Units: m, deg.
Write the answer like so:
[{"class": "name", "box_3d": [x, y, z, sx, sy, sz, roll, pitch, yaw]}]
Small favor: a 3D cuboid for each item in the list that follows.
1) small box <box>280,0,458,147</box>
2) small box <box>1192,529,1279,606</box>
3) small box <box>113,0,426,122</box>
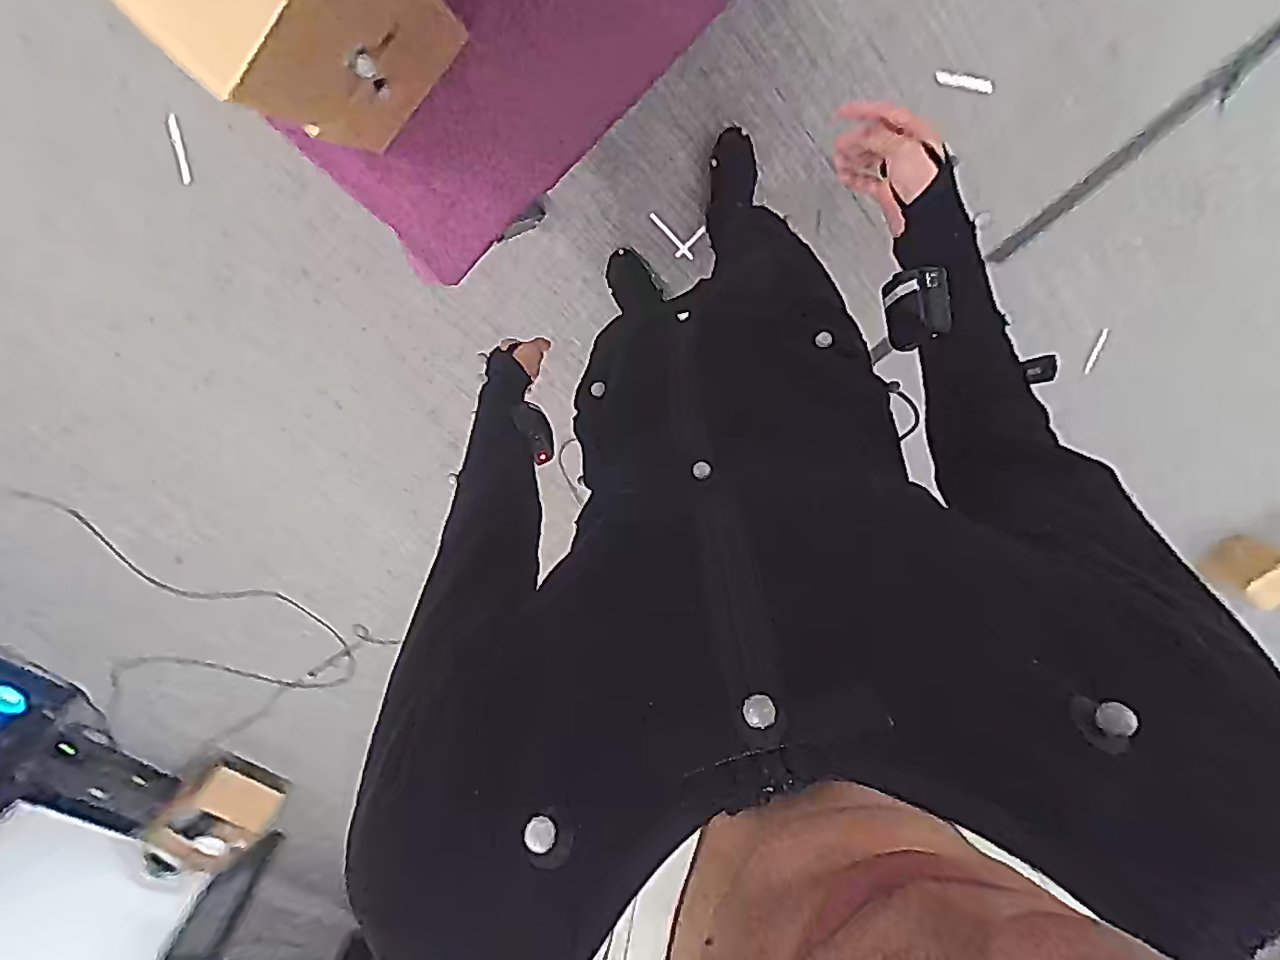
[{"class": "small box", "box_3d": [-0.316, -0.477, 0.552, 0.179, 0.176, 0.168, -40, 112, 16]}, {"class": "small box", "box_3d": [2.123, 0.301, 1.897, 0.179, 0.176, 0.168, 35, 111, -18]}, {"class": "small box", "box_3d": [-0.297, -0.408, 0.403, 0.168, 0.176, 0.179, -40, 112, 17]}]
